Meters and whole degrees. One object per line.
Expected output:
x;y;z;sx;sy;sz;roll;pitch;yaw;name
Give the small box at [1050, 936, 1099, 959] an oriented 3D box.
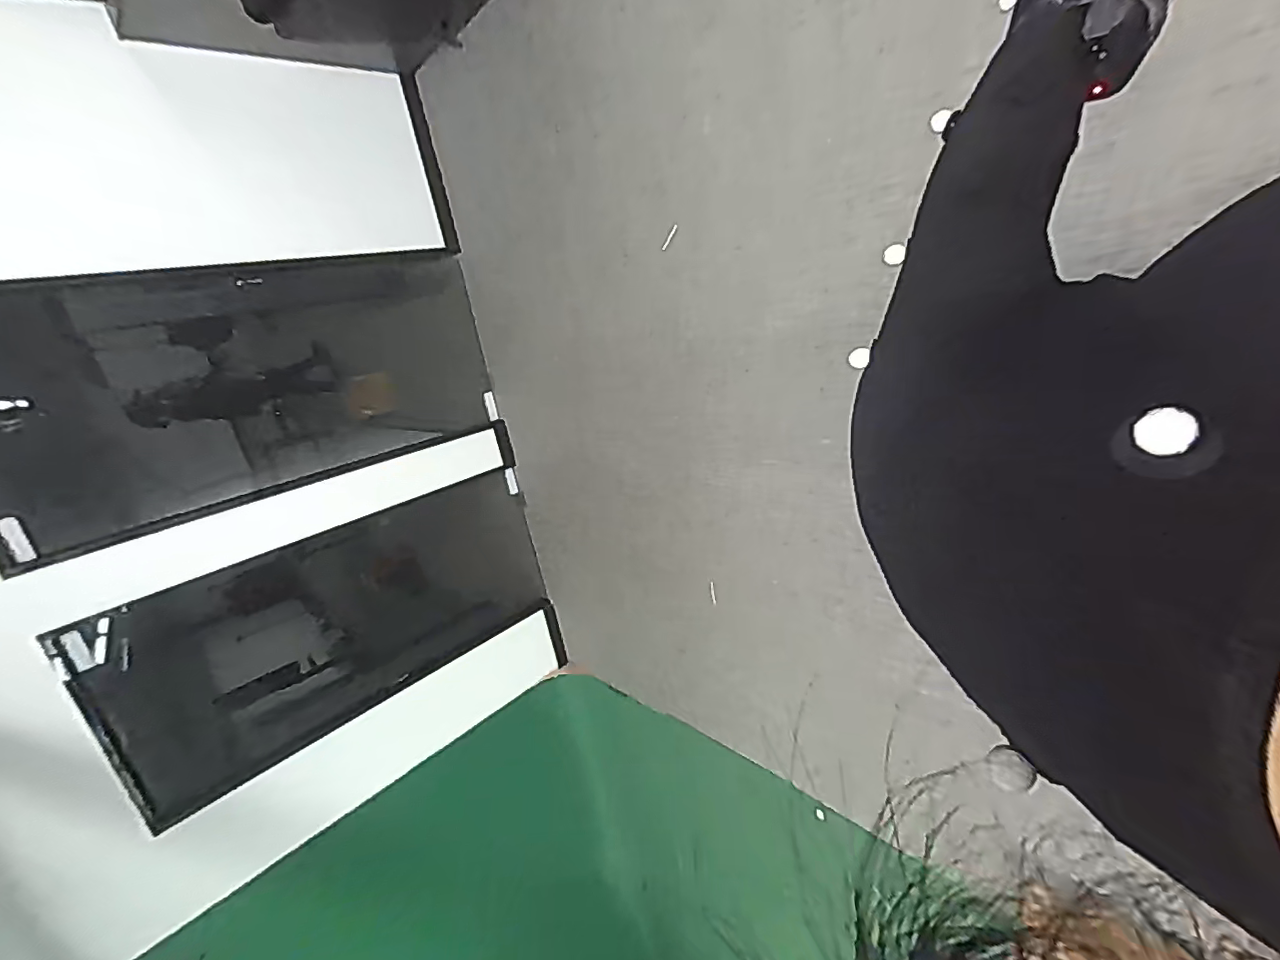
1.250;1.460;1.525;0.168;0.176;0.179;14;118;44;small box
